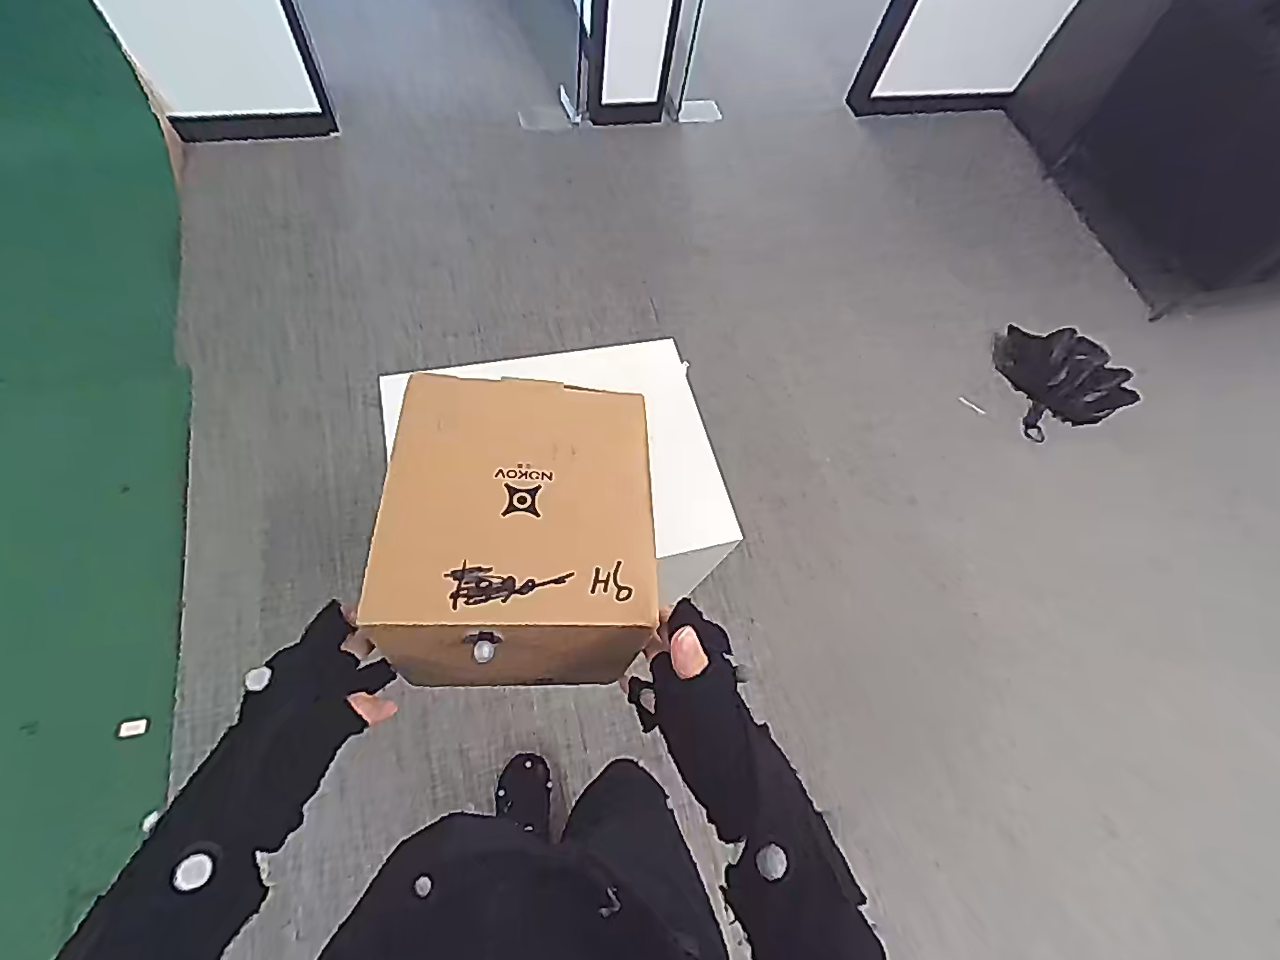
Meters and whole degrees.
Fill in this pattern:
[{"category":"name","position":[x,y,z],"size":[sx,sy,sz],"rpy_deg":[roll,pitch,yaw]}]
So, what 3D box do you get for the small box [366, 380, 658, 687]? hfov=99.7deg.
[{"category":"small box","position":[-0.087,0.049,0.415],"size":[0.168,0.176,0.179],"rpy_deg":[2,58,-10]}]
